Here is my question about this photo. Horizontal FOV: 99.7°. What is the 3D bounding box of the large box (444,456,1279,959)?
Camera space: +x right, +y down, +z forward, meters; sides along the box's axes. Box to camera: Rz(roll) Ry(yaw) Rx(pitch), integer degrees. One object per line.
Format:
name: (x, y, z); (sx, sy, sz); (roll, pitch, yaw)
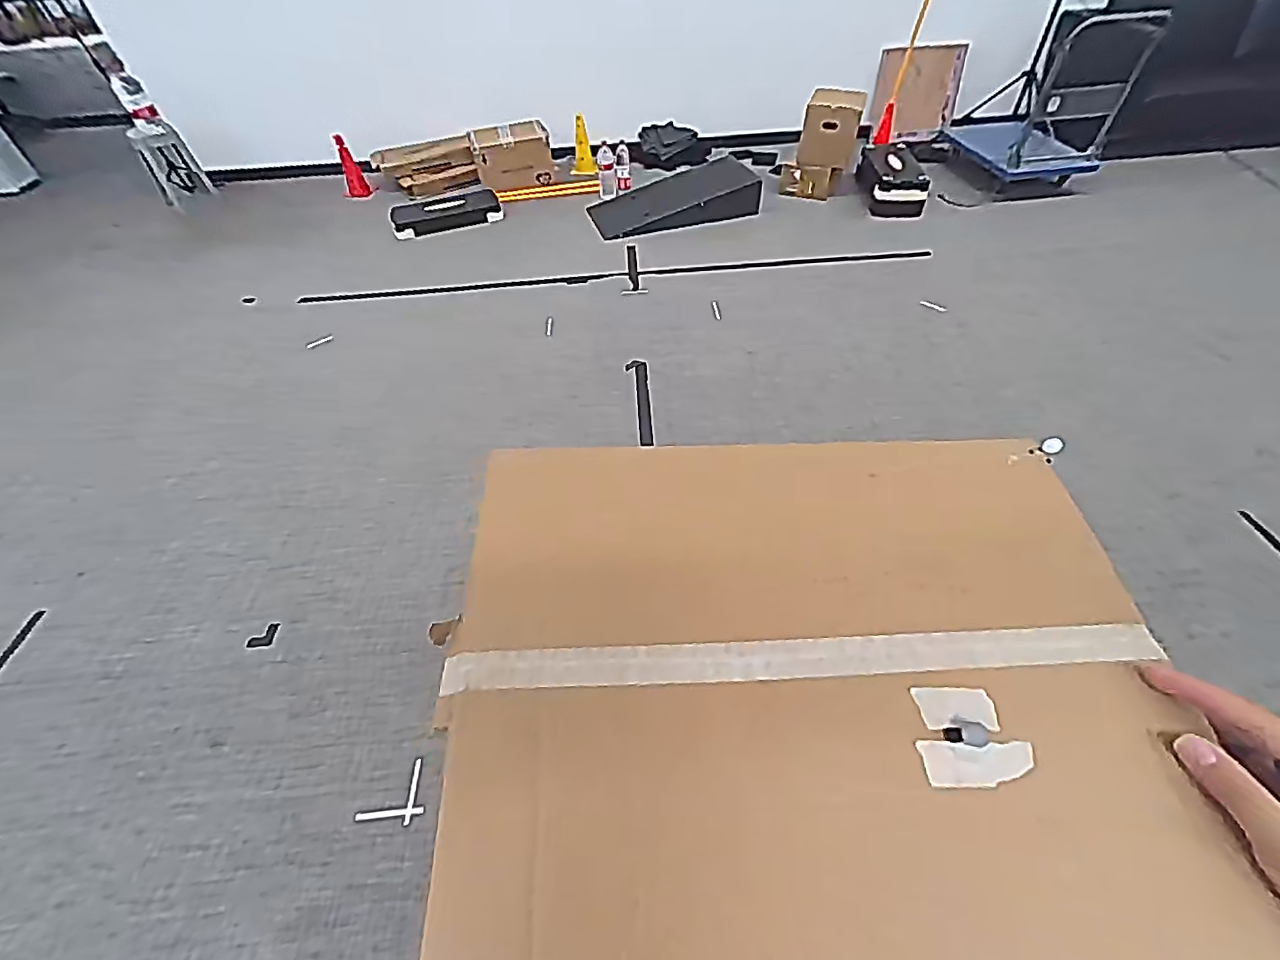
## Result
large box: (0.094, 0.197, 0.440); (0.408, 0.320, 0.320); (-1, 56, -4)
